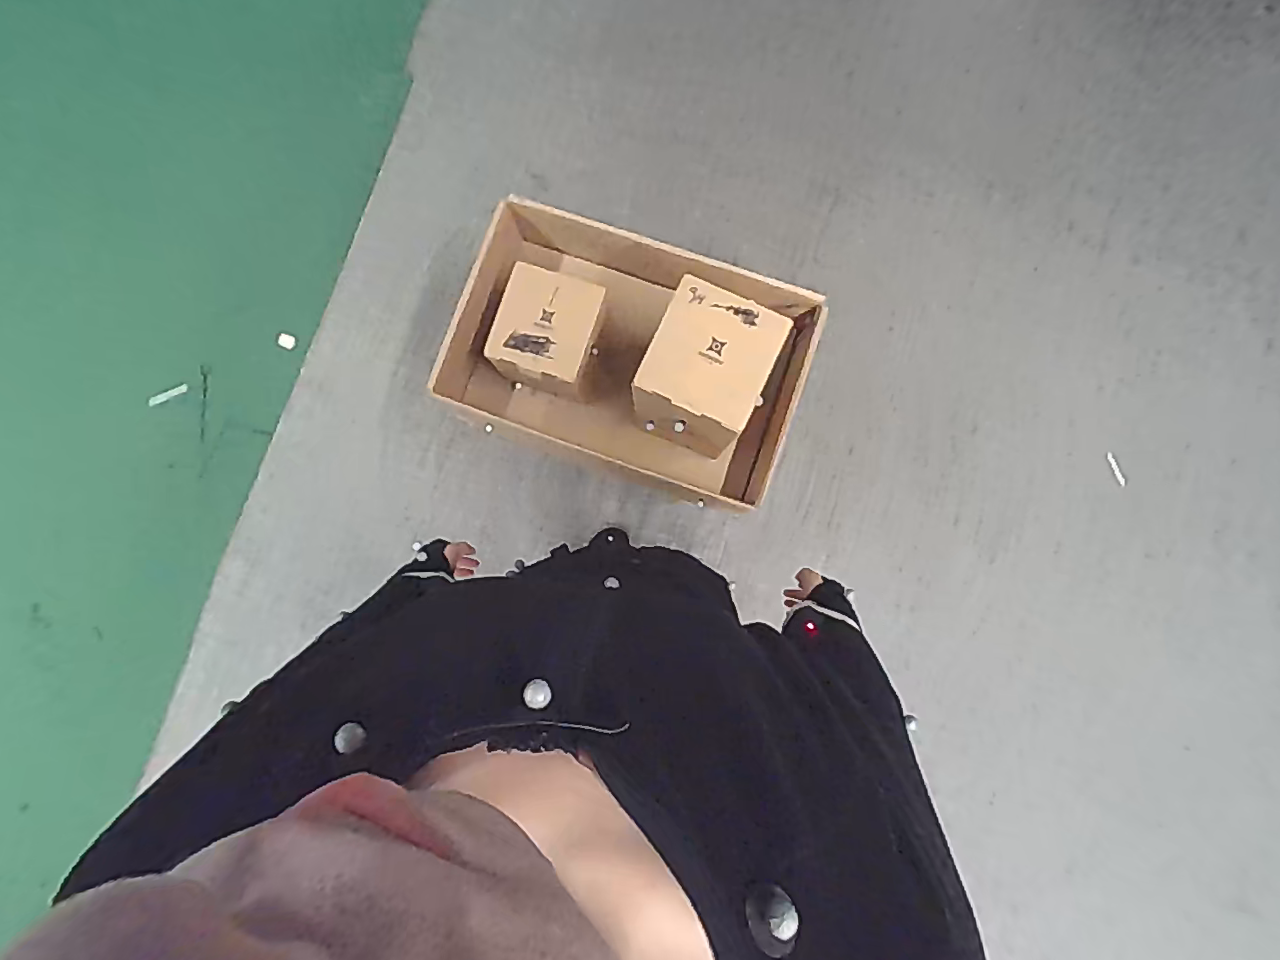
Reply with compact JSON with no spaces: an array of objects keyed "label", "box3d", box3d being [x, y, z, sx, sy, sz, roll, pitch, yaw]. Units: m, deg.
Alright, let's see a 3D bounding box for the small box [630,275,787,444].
[{"label":"small box","box3d":[0.098,-0.168,0.816,0.168,0.176,0.179,23,87,4]}]
